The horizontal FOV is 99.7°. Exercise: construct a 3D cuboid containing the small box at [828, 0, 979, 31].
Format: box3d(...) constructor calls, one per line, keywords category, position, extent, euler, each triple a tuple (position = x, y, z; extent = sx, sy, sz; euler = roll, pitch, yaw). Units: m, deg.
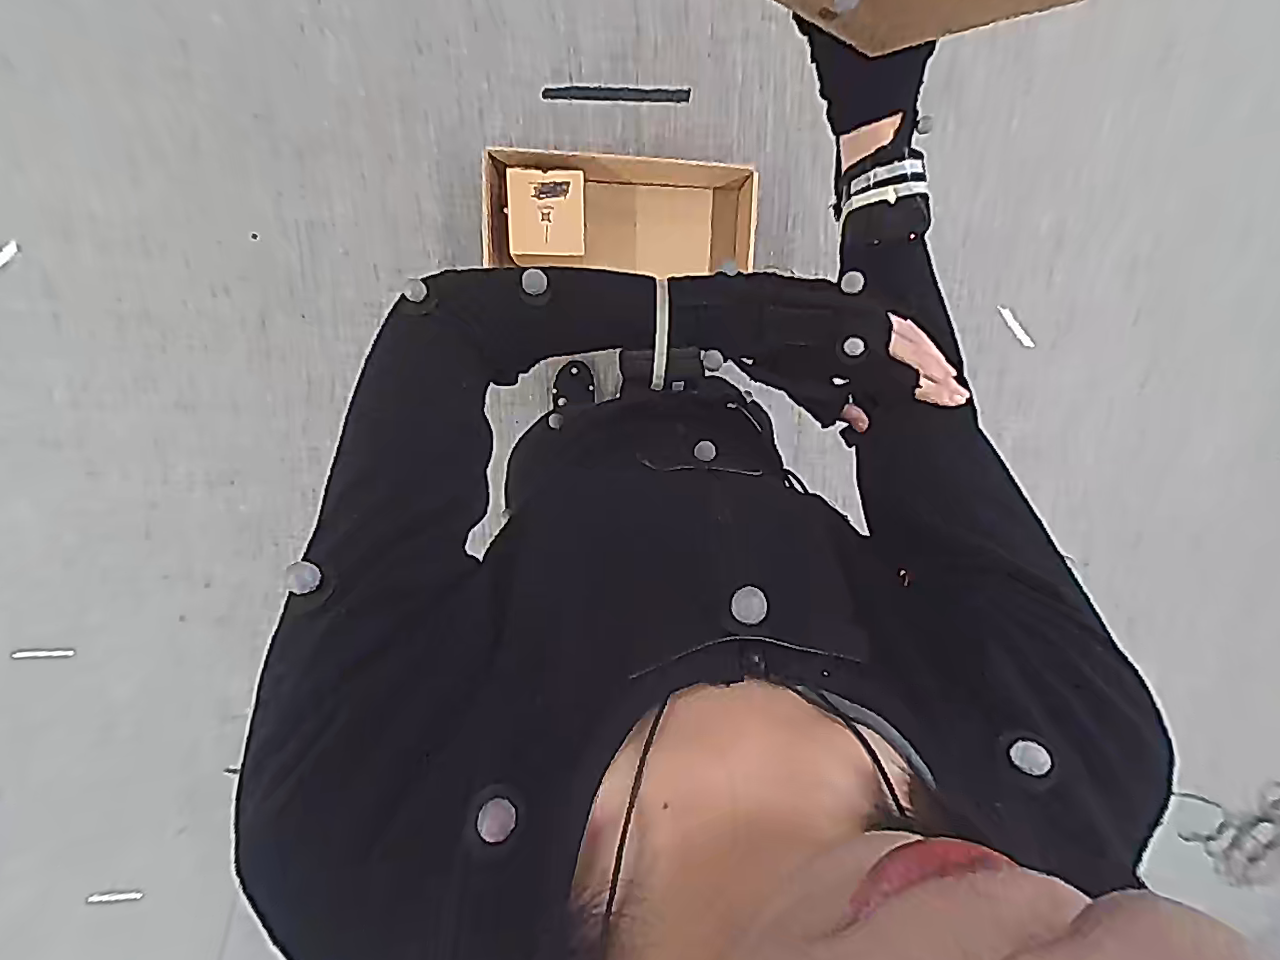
box3d(category="small box", position=(0.151, -0.364, 0.263), extent=(0.168, 0.176, 0.179), euler=(6, 116, -24))
